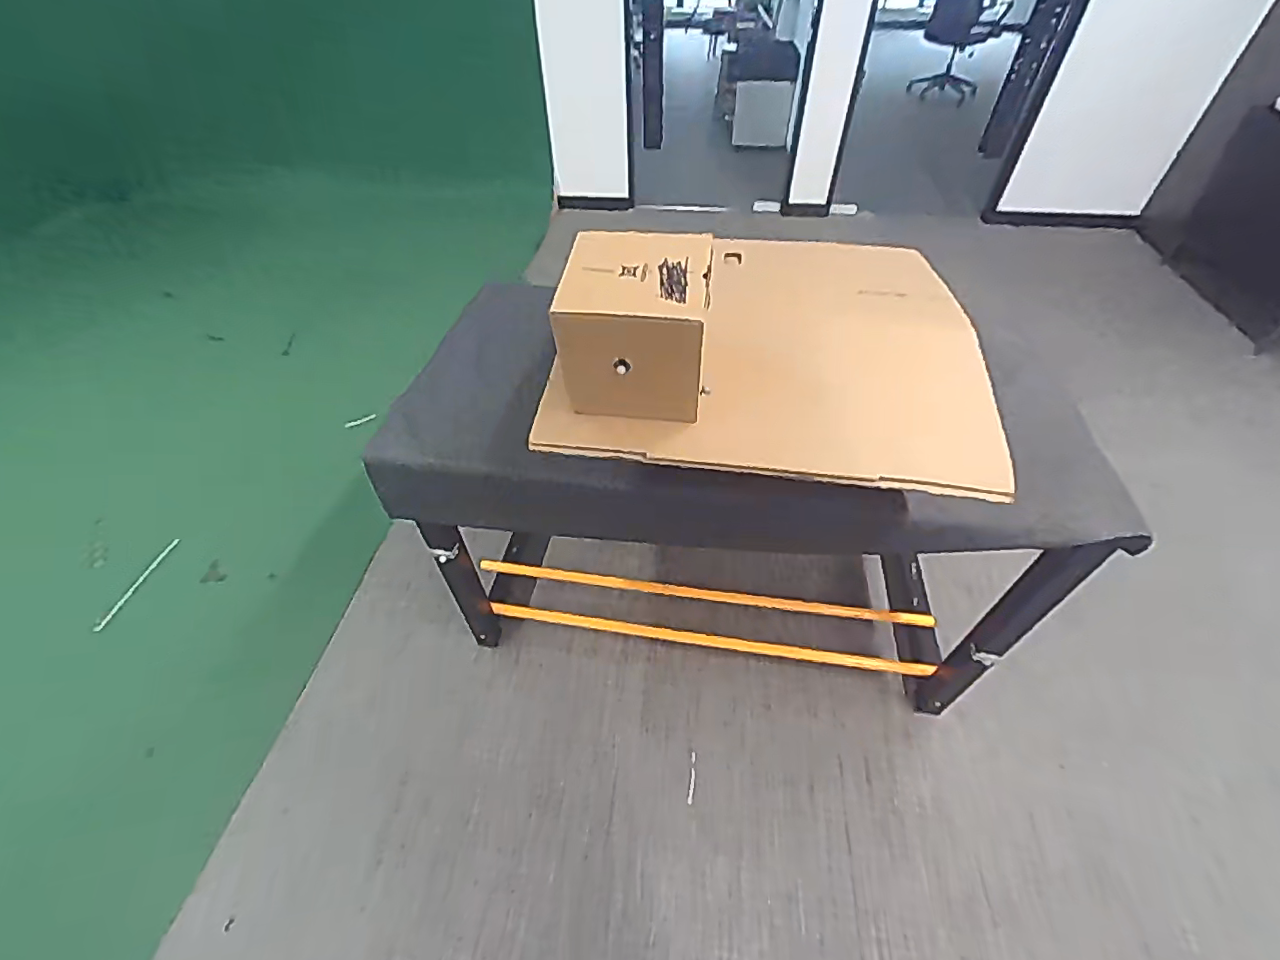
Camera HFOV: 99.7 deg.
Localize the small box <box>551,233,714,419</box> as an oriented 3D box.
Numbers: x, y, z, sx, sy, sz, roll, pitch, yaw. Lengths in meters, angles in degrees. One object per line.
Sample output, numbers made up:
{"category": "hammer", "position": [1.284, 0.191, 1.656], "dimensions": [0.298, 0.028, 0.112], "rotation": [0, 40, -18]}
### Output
{"category": "small box", "position": [-0.001, -0.197, 0.710], "dimensions": [0.179, 0.176, 0.168], "rotation": [5, 55, 7]}
